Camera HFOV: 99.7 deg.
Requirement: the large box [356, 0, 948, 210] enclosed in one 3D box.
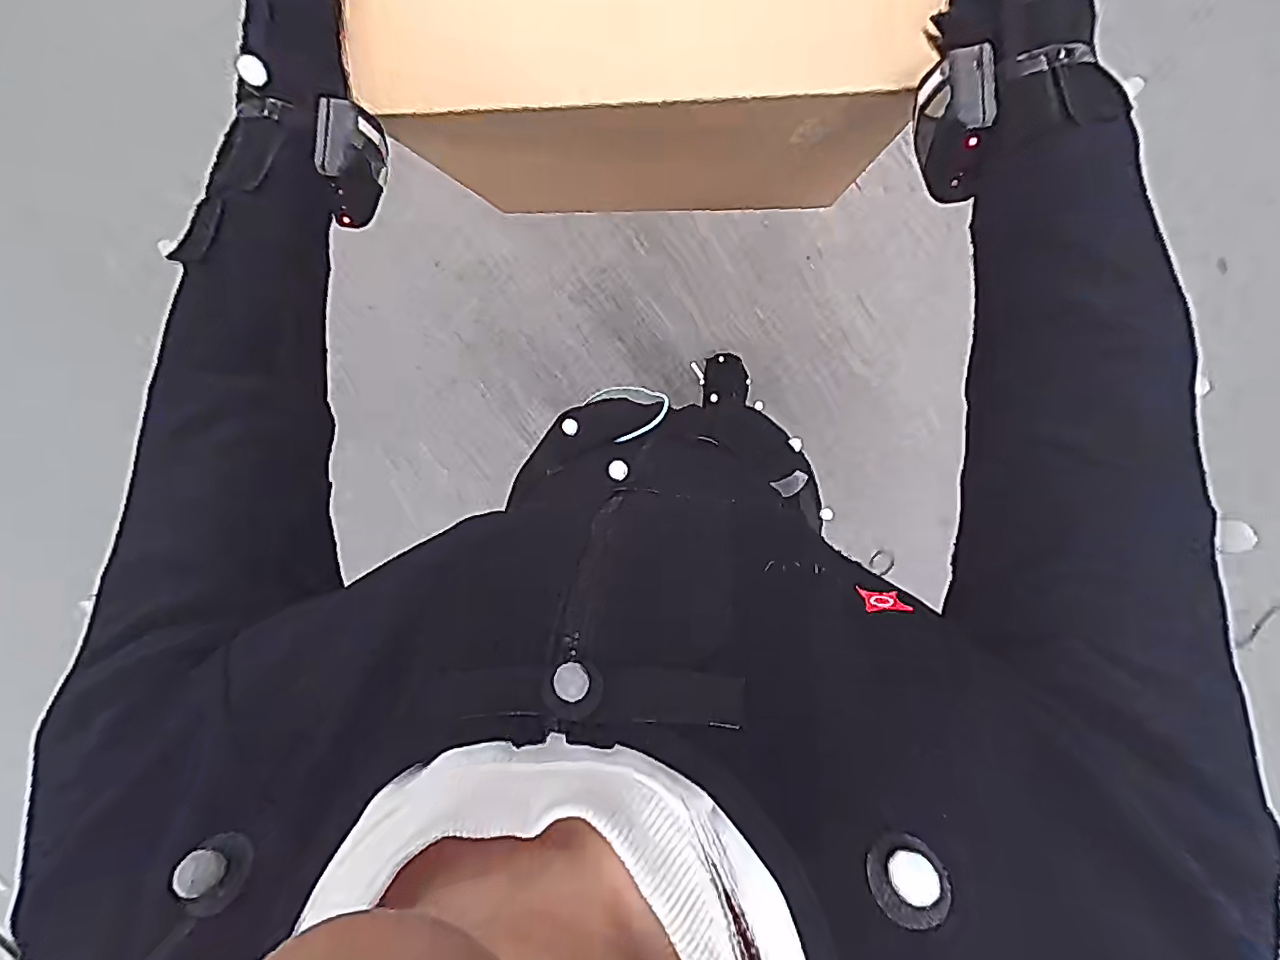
[{"bbox_3d":[0.008,-0.453,0.482,0.408,0.320,0.320,0,105,5],"label":"large box"}]
